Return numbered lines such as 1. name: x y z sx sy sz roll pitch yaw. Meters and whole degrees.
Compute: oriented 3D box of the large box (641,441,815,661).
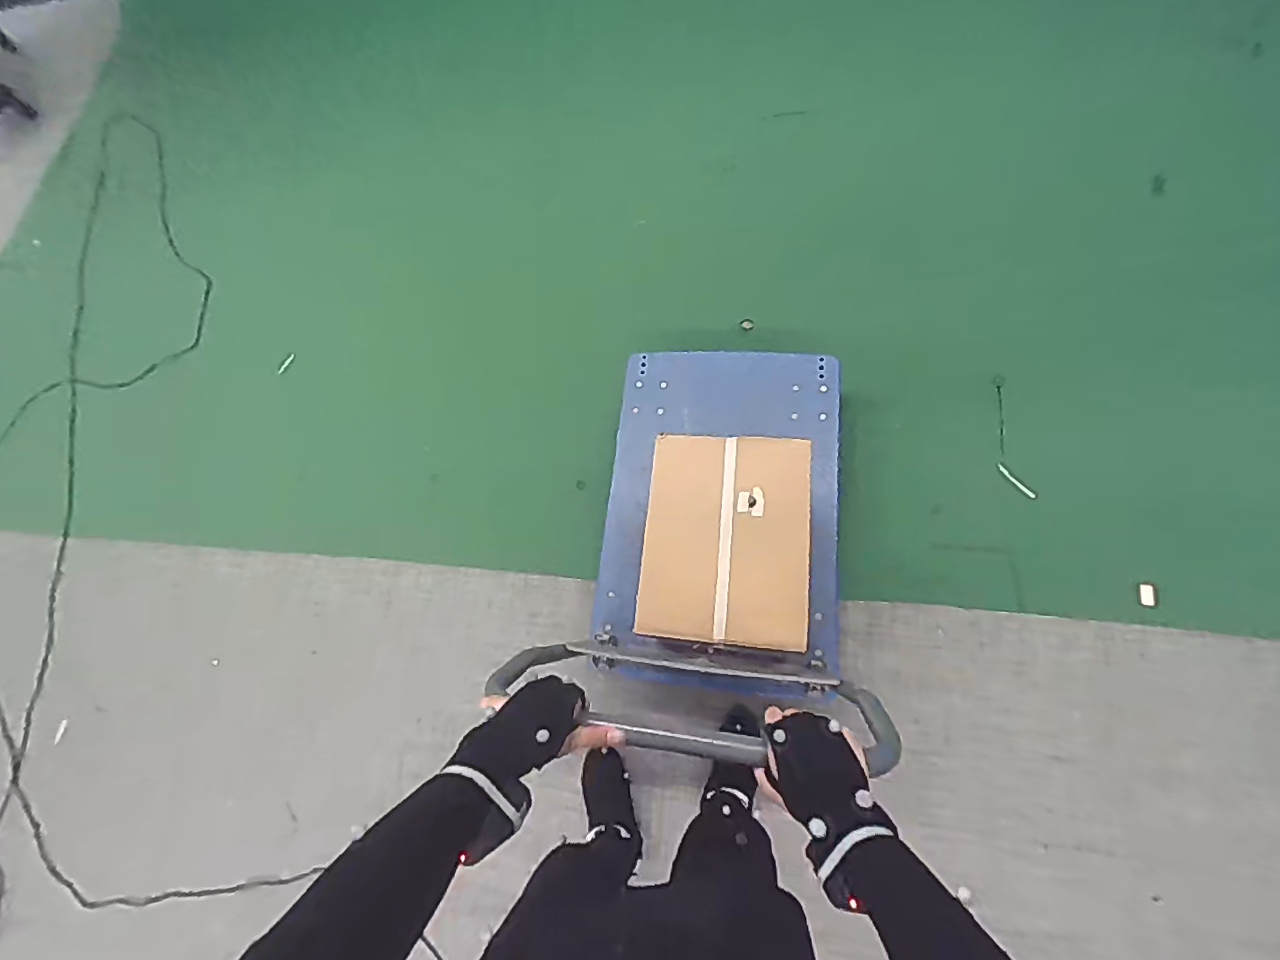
1. large box: 0.197 0.163 1.163 0.320 0.320 0.408 3 71 11
